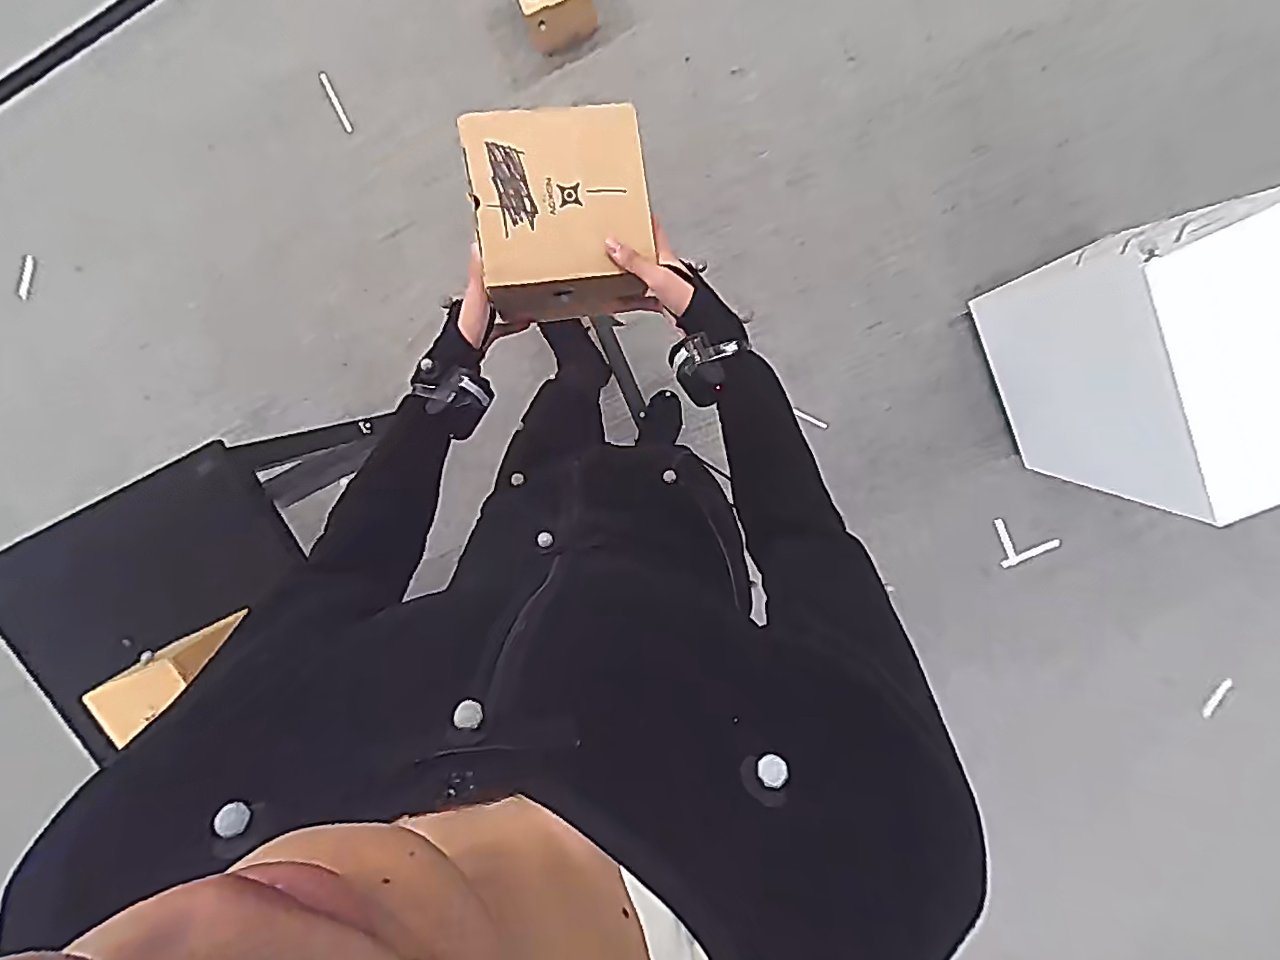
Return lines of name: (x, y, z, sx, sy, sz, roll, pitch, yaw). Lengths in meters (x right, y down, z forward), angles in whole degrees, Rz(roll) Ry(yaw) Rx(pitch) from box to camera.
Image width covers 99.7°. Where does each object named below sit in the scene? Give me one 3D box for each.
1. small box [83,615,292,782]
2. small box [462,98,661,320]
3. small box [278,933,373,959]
small box: (-0.748, 0.360, 0.915, 0.179, 0.176, 0.168, -24, 100, 7)
small box: (-0.083, -0.284, 0.602, 0.179, 0.176, 0.168, -9, 95, -8)
small box: (-0.525, 0.871, 0.845, 0.179, 0.176, 0.168, -25, 100, 8)
